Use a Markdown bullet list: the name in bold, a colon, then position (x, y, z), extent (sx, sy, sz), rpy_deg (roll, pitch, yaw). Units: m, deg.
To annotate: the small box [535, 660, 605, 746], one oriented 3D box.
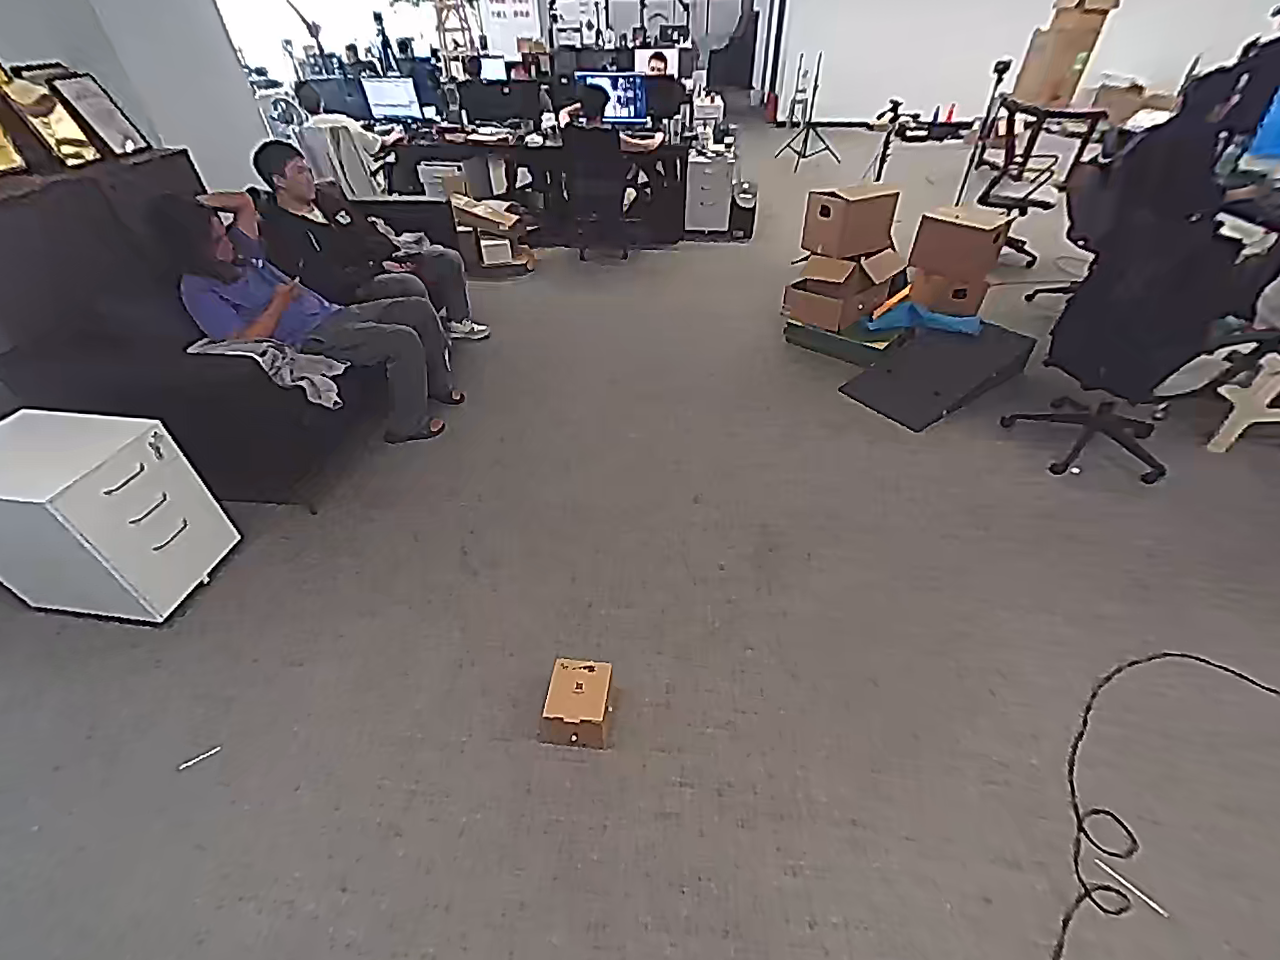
- **small box**: position (-0.193, 0.646, 1.559), extent (0.168, 0.176, 0.179), rpy_deg (2, 40, 4)
